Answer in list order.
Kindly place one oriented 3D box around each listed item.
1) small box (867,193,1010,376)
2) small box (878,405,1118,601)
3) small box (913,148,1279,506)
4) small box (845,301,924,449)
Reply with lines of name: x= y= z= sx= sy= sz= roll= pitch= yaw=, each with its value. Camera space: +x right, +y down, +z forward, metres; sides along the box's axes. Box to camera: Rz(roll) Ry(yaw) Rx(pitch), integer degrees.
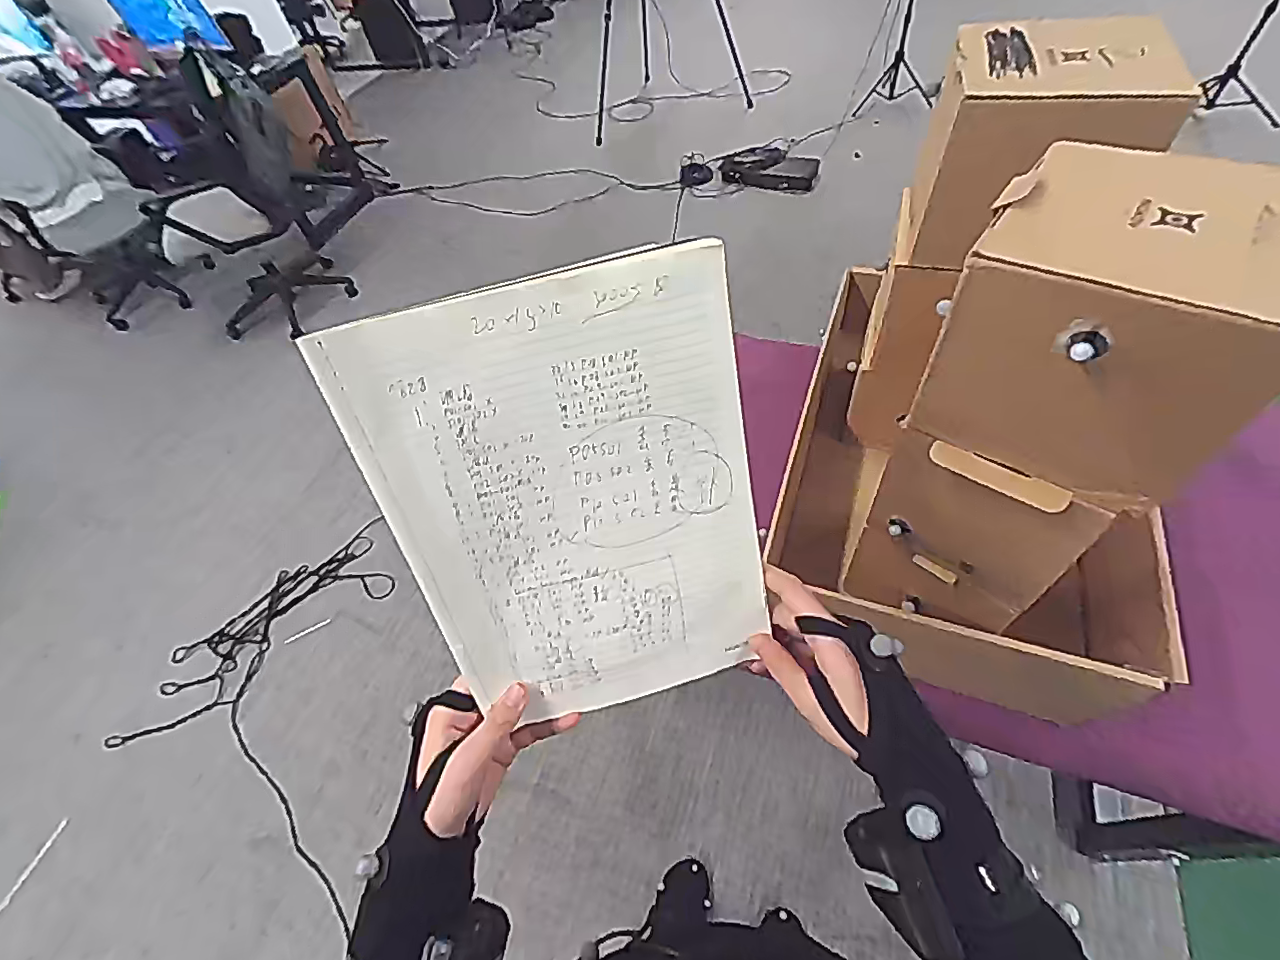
small box: x=0.401 y=-0.241 z=0.692 sx=0.179 sy=0.176 sz=0.168 roll=11 pitch=58 yaw=17
small box: x=0.355 y=-0.016 z=0.527 sx=0.168 sy=0.176 sz=0.179 roll=32 pitch=64 yaw=30
small box: x=0.332 y=-0.110 z=0.396 sx=0.179 sy=0.176 sz=0.168 roll=30 pitch=64 yaw=28
small box: x=0.420 y=-0.152 z=0.826 sx=0.168 sy=0.176 sz=0.179 roll=13 pitch=59 yaw=18
